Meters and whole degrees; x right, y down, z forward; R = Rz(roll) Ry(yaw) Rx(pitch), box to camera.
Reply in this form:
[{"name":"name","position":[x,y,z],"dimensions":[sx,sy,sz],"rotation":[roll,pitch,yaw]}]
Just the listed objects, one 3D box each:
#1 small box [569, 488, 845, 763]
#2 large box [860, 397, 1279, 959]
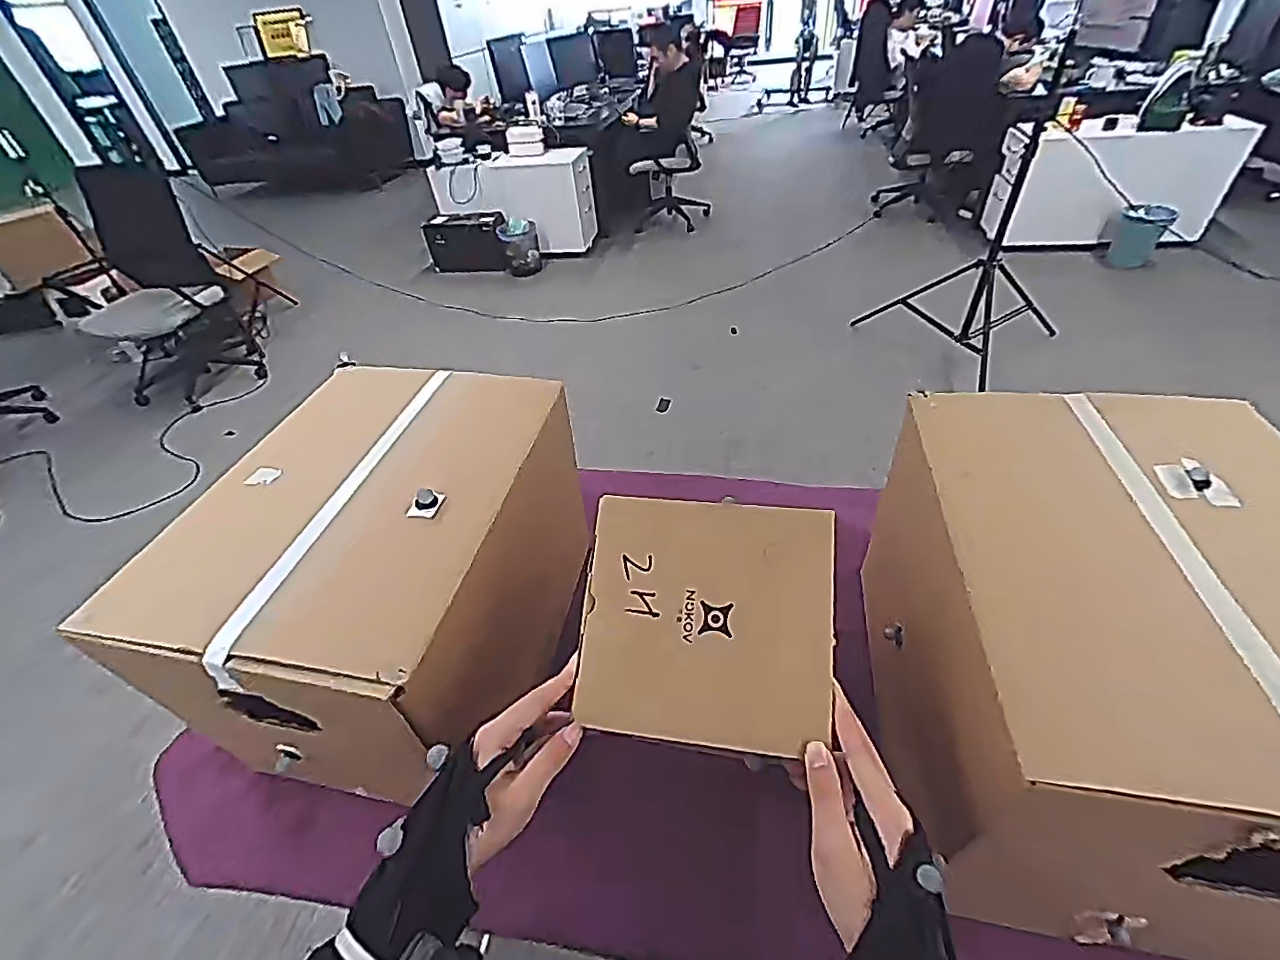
[{"name":"small box","position":[0.060,0.114,0.446],"dimensions":[0.179,0.176,0.168],"rotation":[5,73,12]},{"name":"large box","position":[0.416,0.163,0.514],"dimensions":[0.320,0.320,0.408],"rotation":[4,42,11]}]
